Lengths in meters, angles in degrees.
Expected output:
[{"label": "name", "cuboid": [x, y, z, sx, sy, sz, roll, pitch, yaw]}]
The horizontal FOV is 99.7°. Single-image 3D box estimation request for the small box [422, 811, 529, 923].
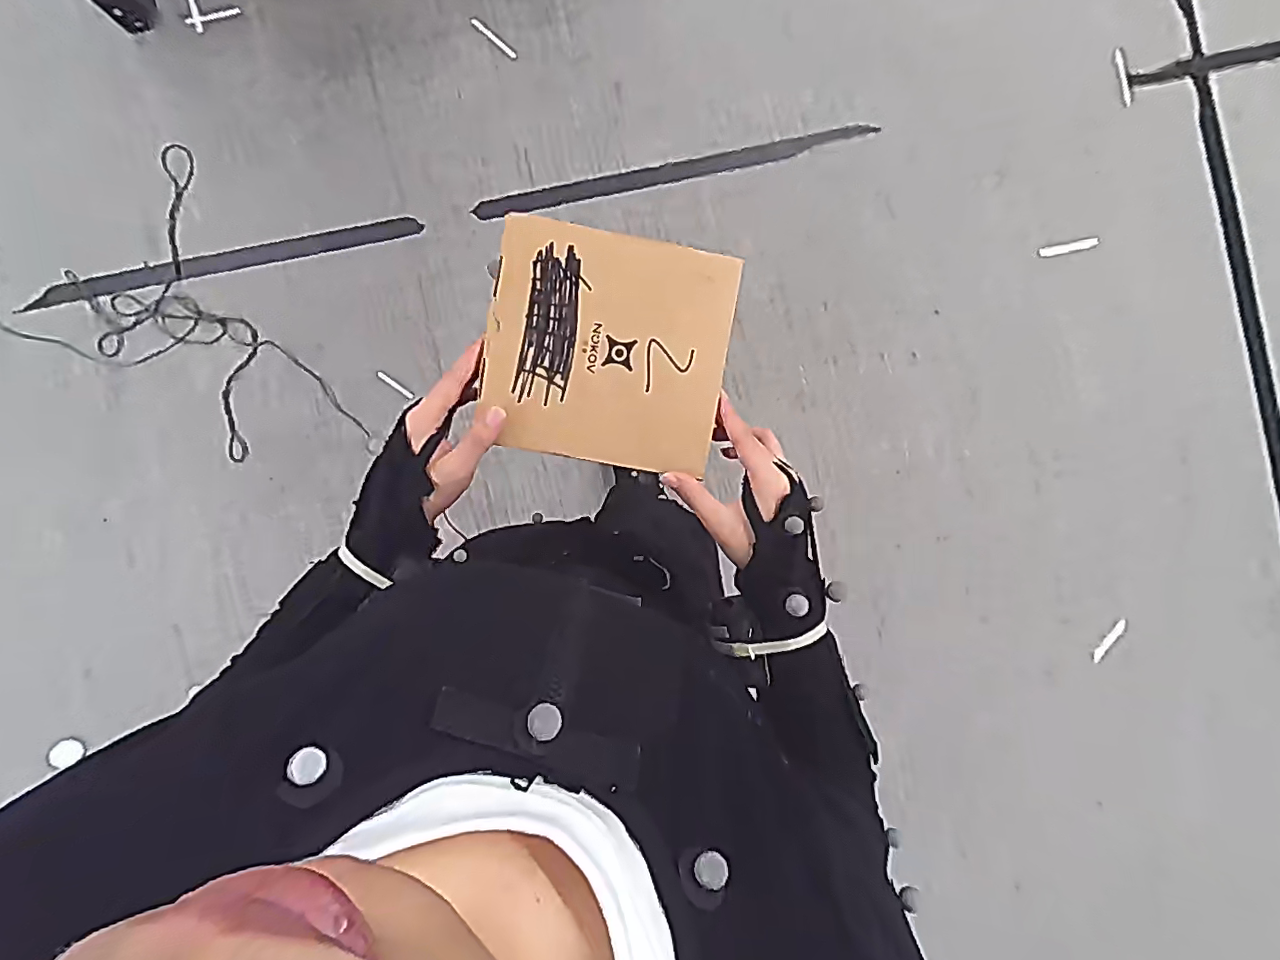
[{"label": "small box", "cuboid": [-0.358, 0.893, 1.213, 0.168, 0.176, 0.179, -15, 91, -1]}]
